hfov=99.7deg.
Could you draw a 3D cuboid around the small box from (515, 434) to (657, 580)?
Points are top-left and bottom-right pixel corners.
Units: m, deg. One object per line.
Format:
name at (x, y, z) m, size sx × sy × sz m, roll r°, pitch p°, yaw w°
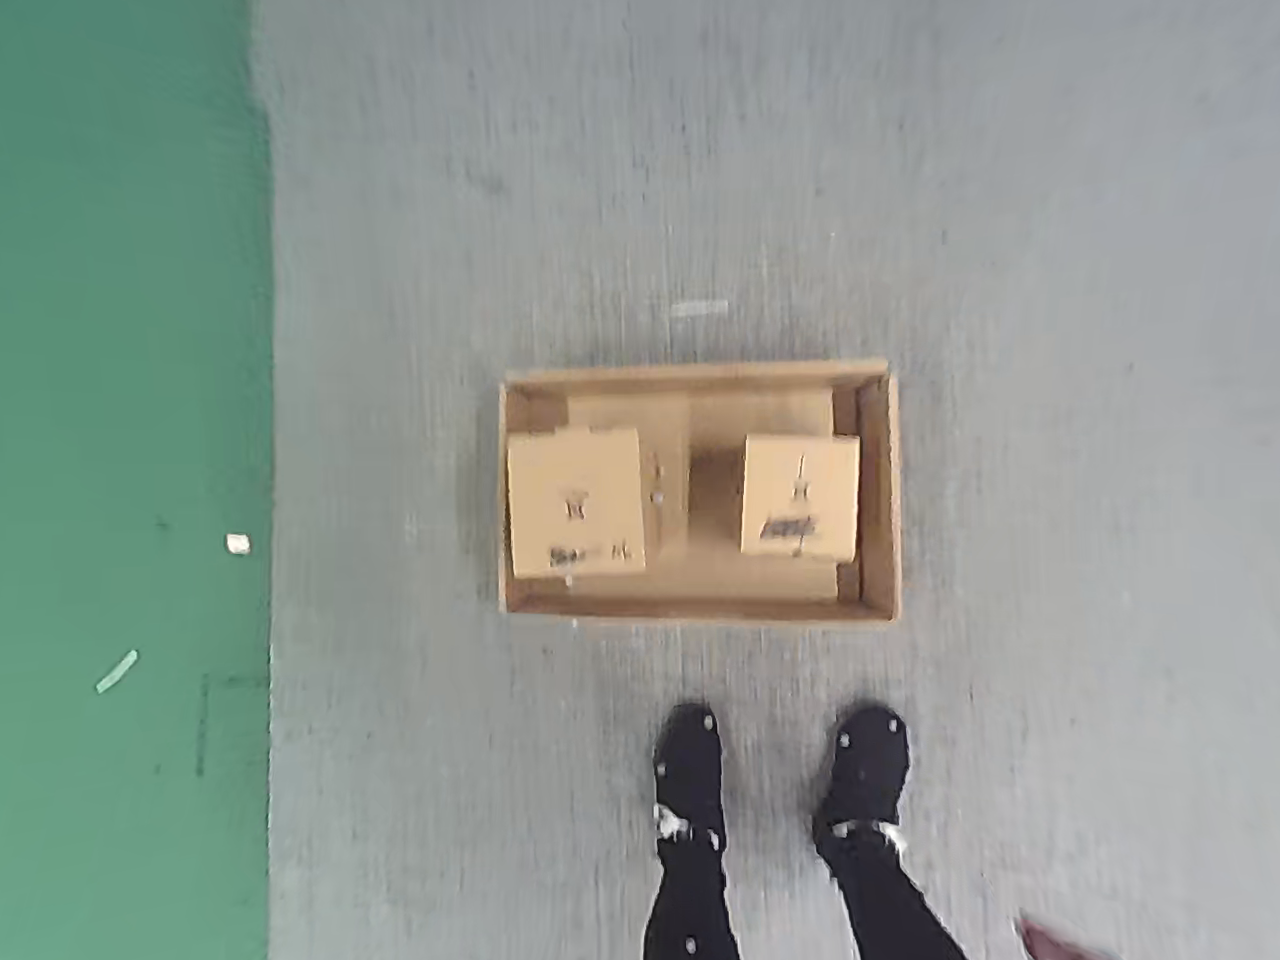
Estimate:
small box at (-0.066, 0.039, 0.739) m, size 0.168 × 0.176 × 0.179 m, roll -3°, pitch 87°, yaw 6°
